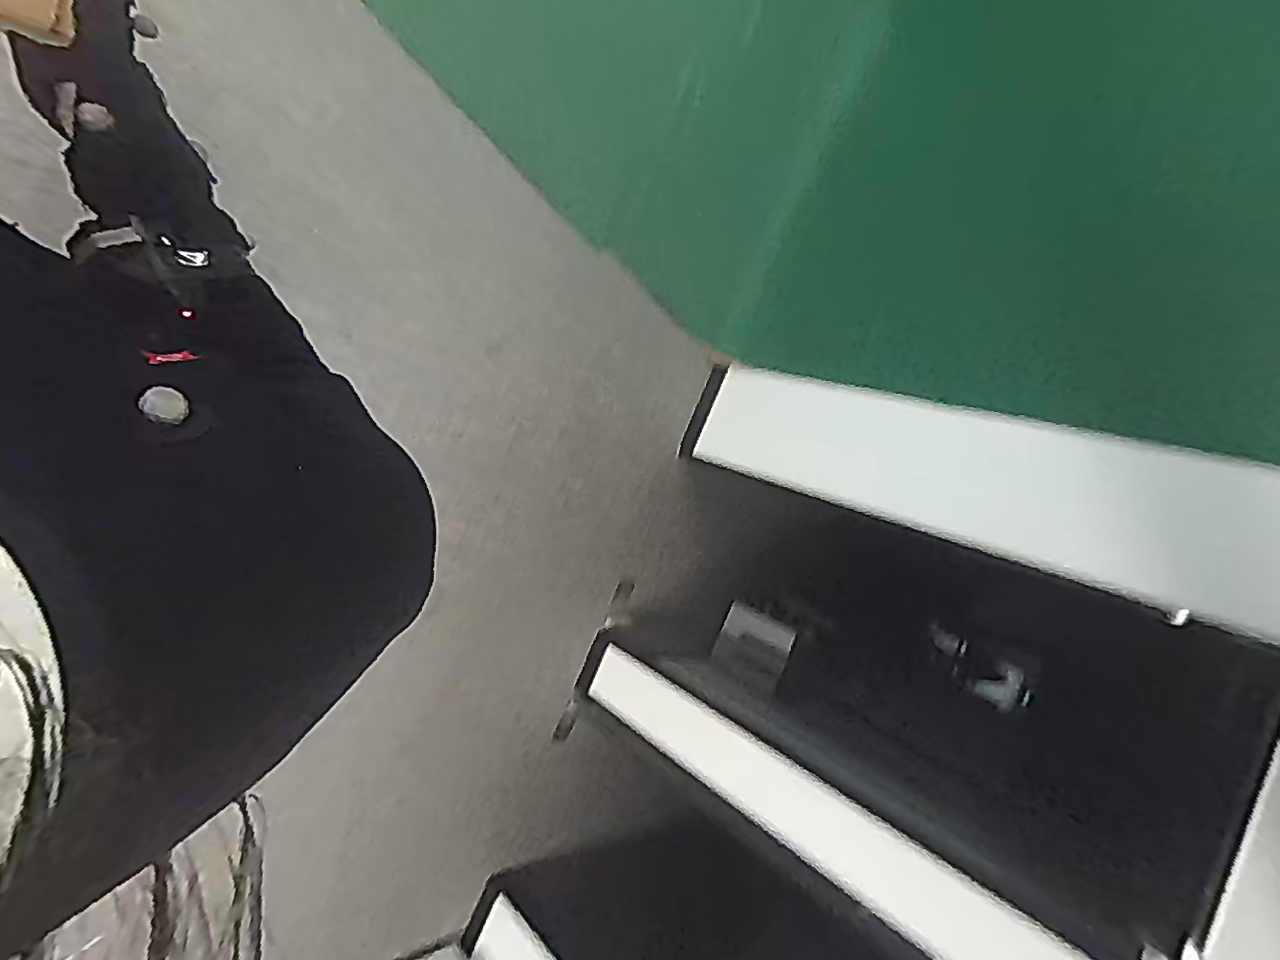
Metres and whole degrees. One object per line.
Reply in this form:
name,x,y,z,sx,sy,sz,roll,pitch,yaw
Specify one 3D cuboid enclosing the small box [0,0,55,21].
small box,-0.231,-0.225,0.091,0.179,0.176,0.168,-2,119,-50
